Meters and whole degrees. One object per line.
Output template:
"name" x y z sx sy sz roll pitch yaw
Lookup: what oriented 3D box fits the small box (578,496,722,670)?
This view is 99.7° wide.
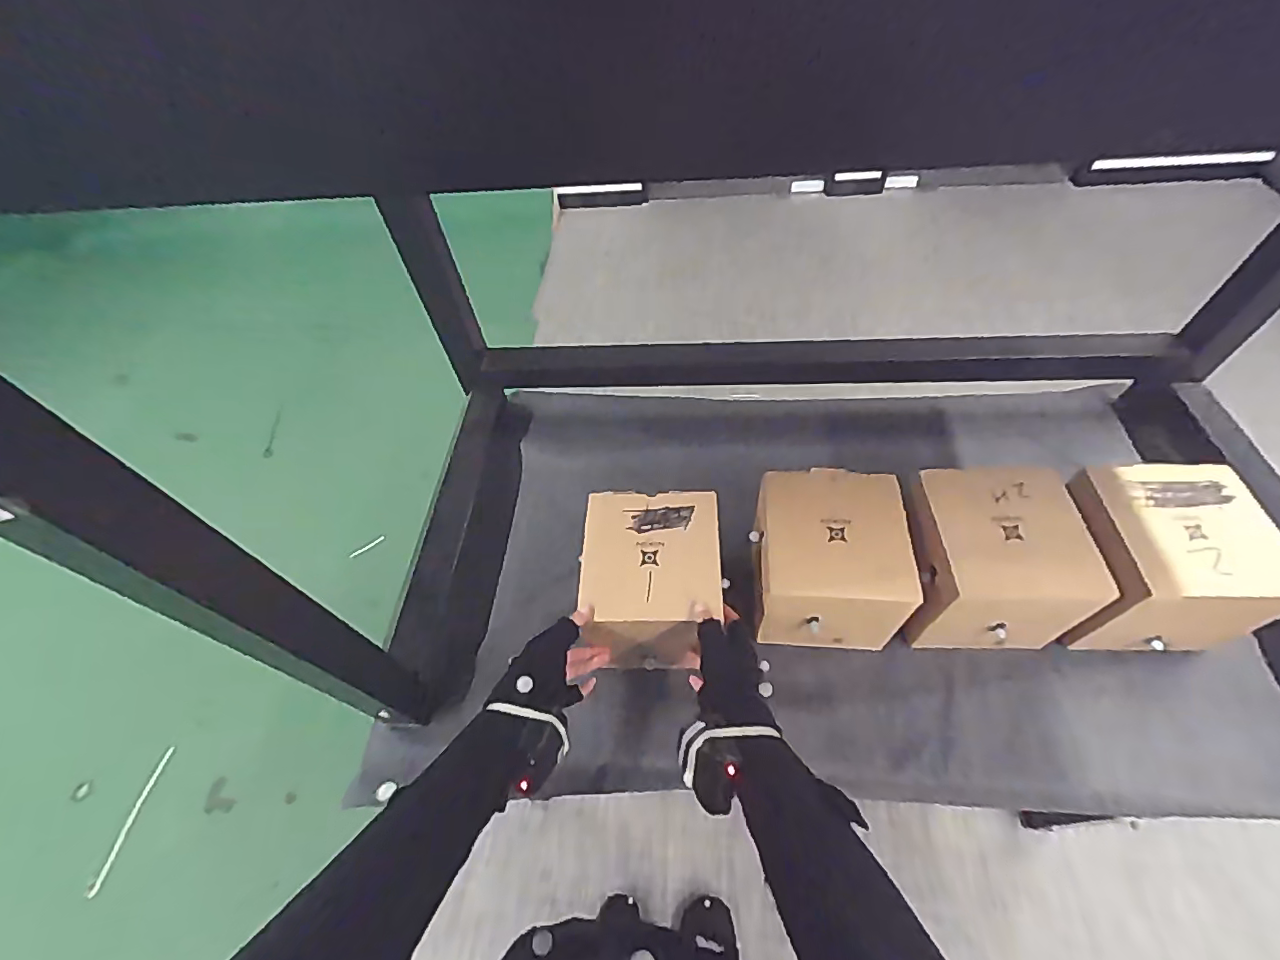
"small box" 0.018 0.138 0.720 0.168 0.176 0.179 -2 54 4
